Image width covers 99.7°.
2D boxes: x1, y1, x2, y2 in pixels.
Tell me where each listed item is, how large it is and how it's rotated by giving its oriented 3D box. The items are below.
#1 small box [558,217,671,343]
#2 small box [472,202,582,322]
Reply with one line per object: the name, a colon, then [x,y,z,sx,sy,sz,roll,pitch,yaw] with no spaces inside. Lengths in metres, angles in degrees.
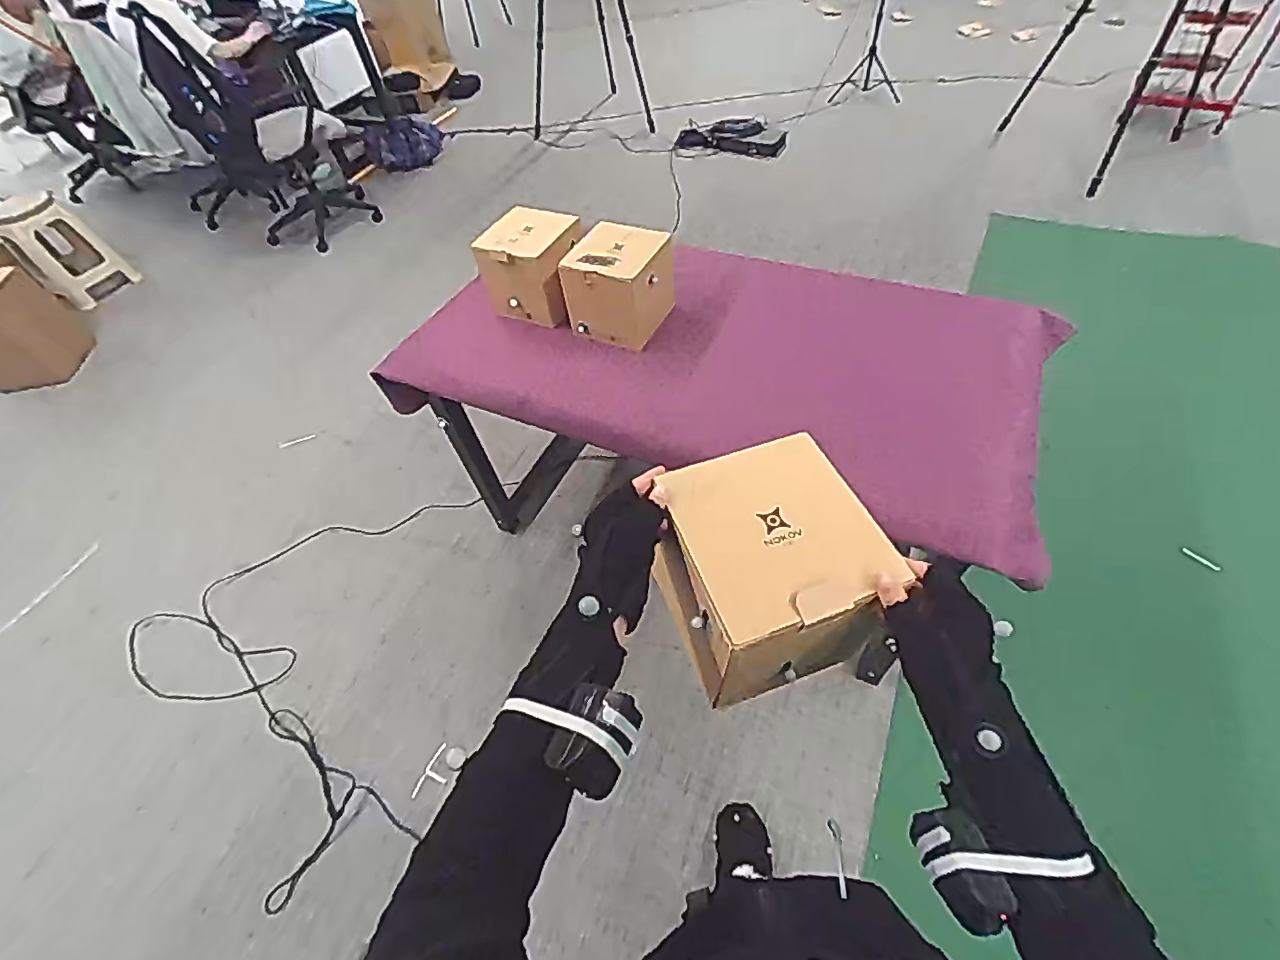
small box: [-0.041,-0.411,1.117,0.168,0.176,0.179,20,58,20]
small box: [-0.231,-0.479,1.190,0.168,0.176,0.179,19,58,20]
